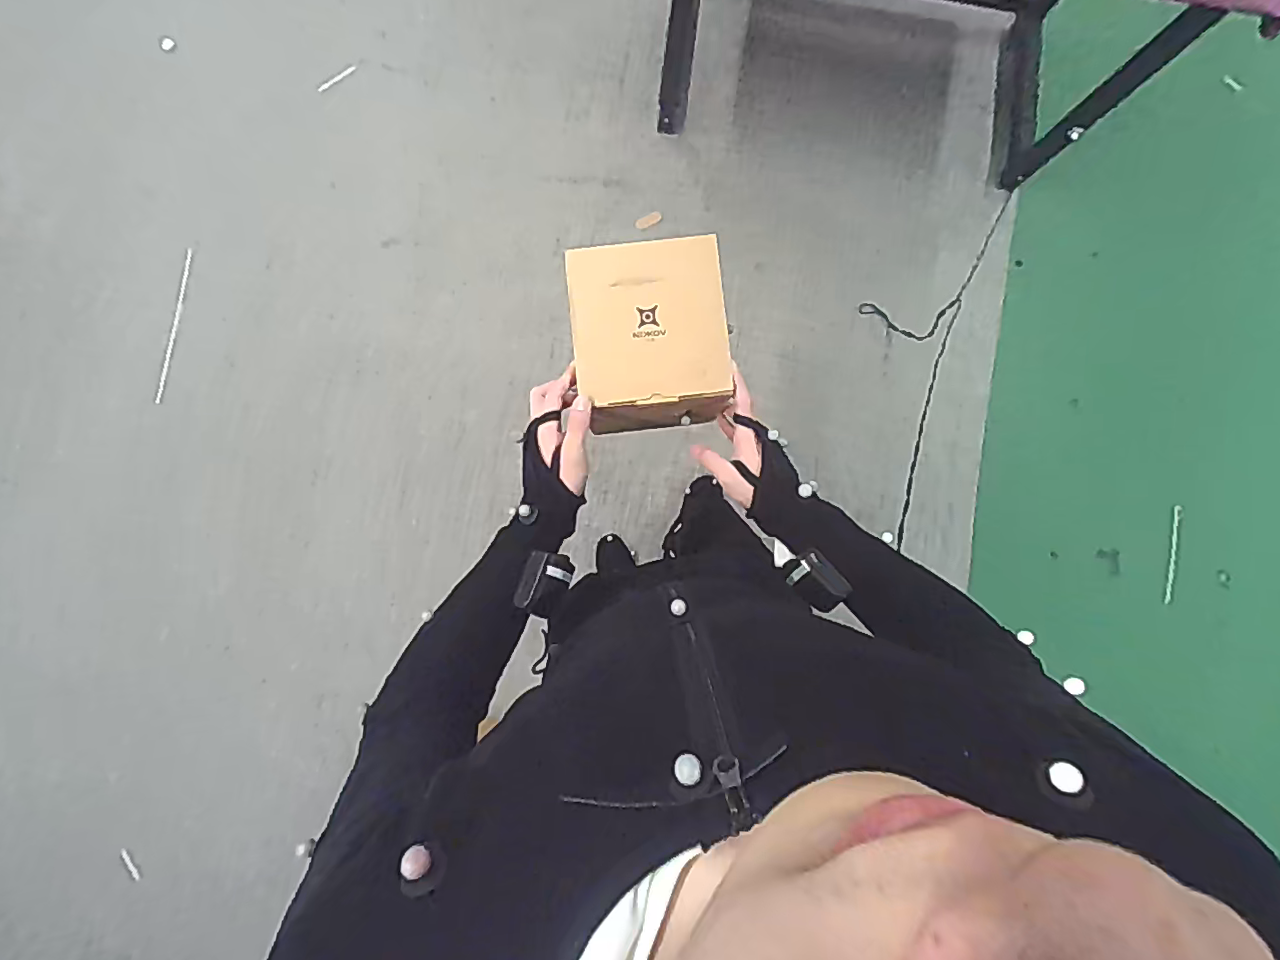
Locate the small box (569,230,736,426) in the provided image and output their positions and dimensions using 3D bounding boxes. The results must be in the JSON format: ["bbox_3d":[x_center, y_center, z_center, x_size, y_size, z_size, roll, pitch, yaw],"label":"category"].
[{"bbox_3d":[0.014,-0.165,0.644,0.168,0.176,0.179,-5,85,0],"label":"small box"}]
